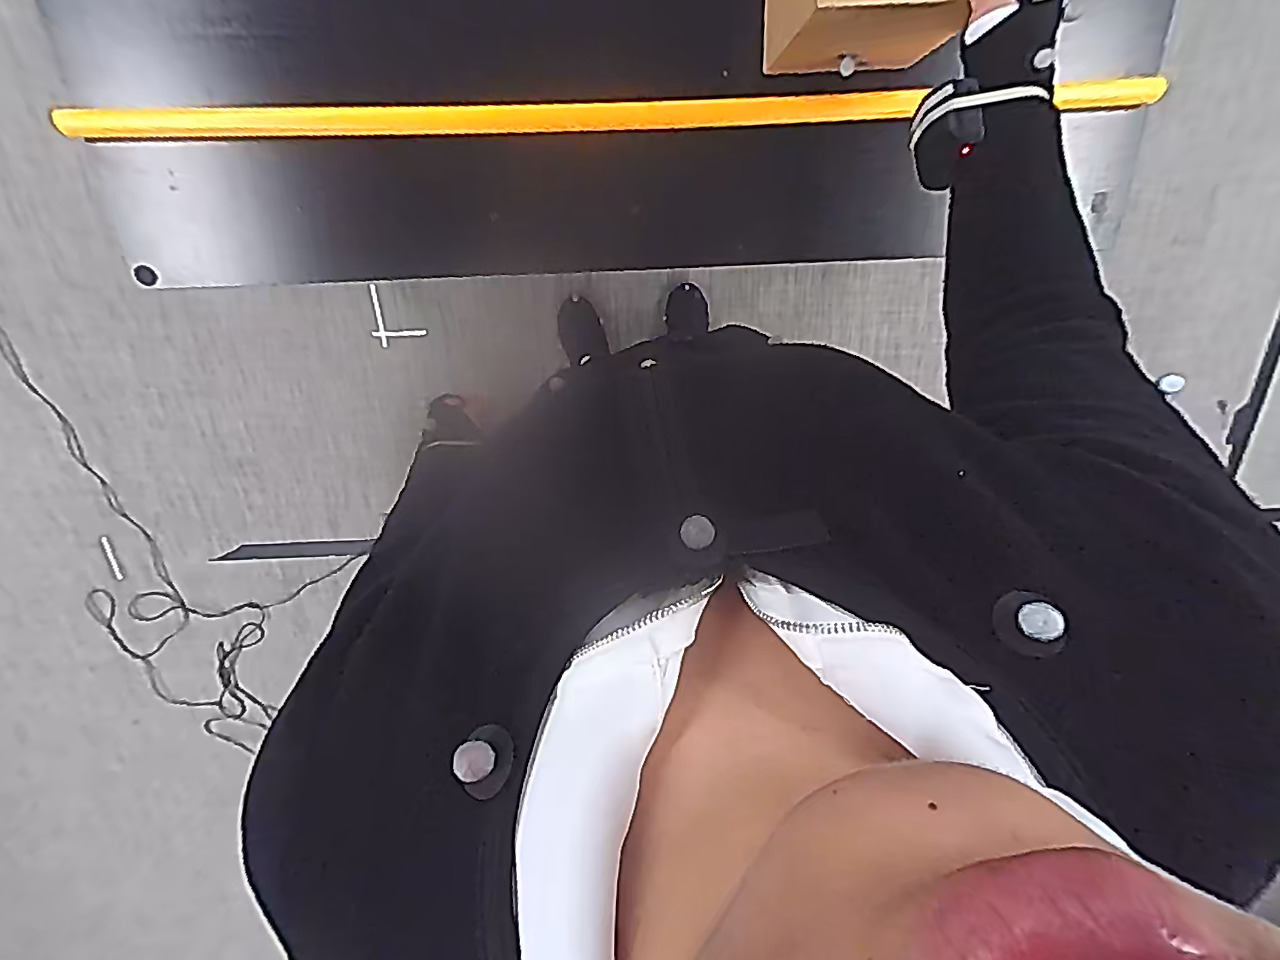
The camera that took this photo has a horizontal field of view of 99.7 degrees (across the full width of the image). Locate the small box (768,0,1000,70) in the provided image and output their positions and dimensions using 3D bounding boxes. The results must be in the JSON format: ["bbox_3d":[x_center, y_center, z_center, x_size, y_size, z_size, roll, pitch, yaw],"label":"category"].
[{"bbox_3d":[0.222,-0.514,0.501,0.168,0.176,0.179,-3,111,-2],"label":"small box"}]
